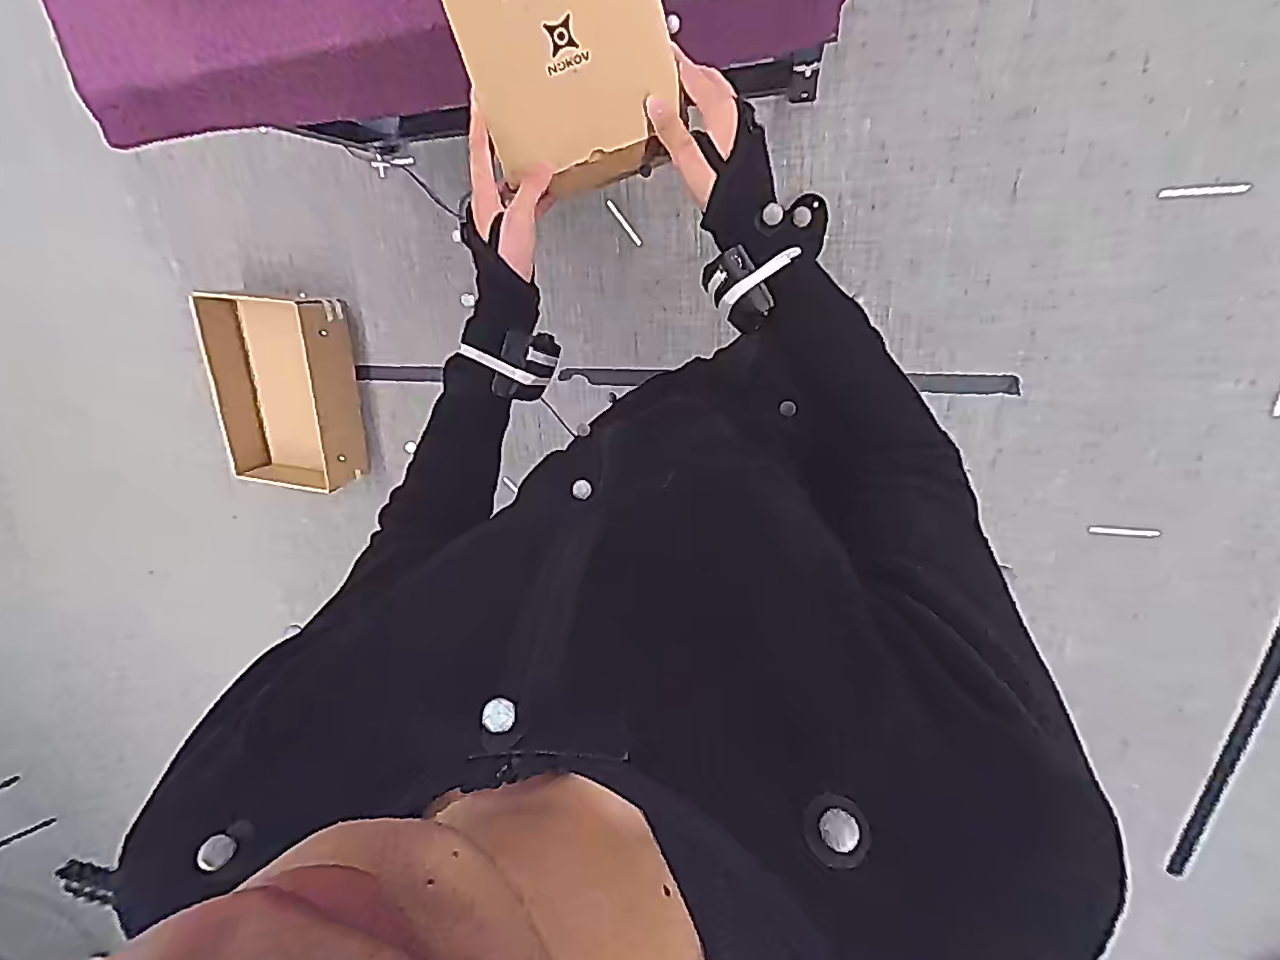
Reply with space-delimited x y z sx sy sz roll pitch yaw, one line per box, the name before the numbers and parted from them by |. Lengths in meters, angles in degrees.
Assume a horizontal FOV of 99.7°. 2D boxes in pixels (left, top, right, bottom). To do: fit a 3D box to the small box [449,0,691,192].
small box | -0.053 -0.384 0.500 0.168 0.176 0.179 -15 110 9
